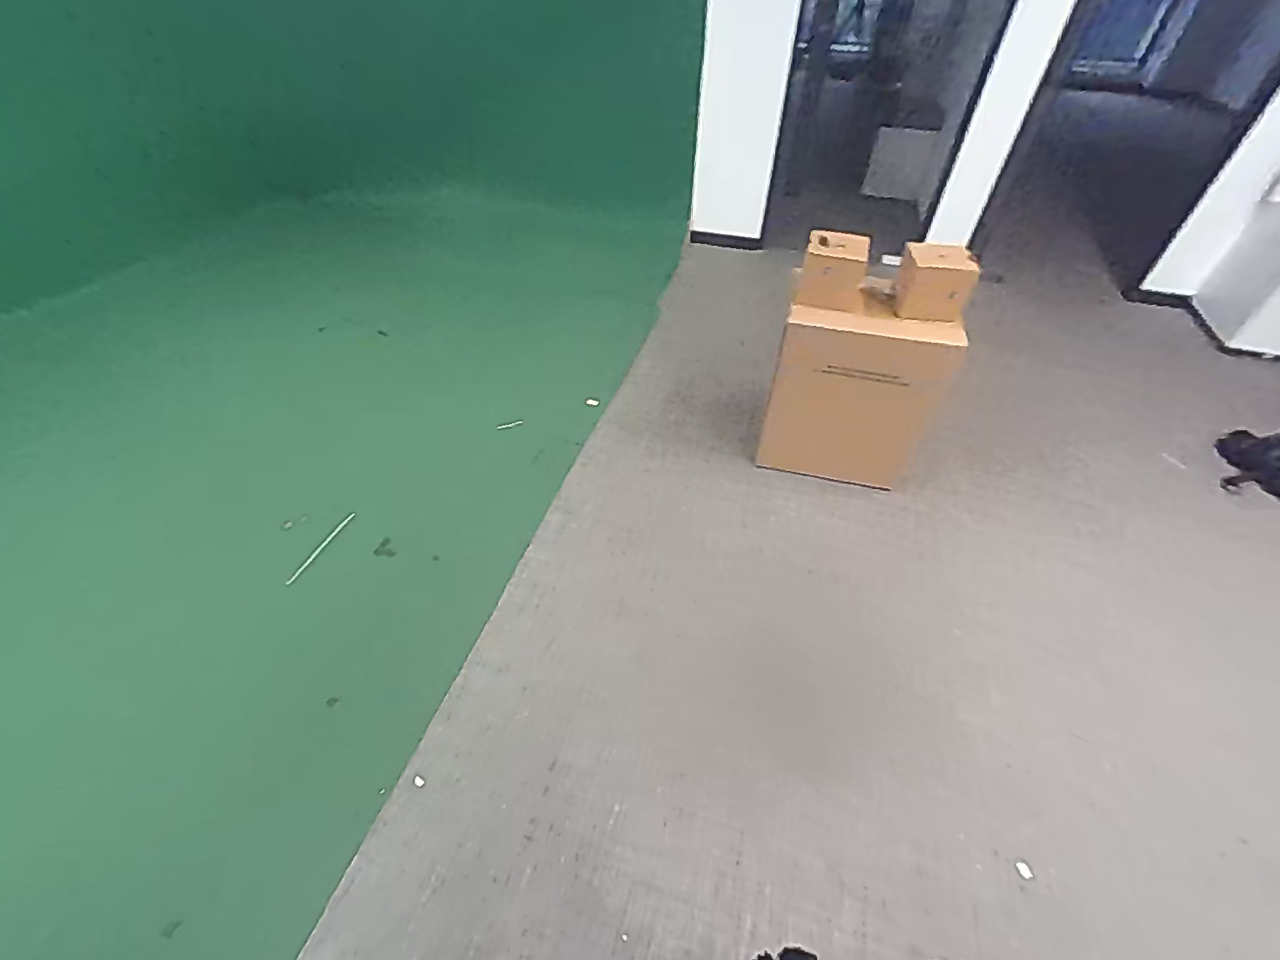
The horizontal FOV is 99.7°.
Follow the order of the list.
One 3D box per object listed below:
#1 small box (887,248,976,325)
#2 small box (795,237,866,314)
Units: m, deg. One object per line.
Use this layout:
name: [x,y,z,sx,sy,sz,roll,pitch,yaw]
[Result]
small box: [0.894,-0.597,1.675,0.179,0.176,0.168,5,47,6]
small box: [0.603,-0.650,1.720,0.179,0.176,0.168,14,50,12]
